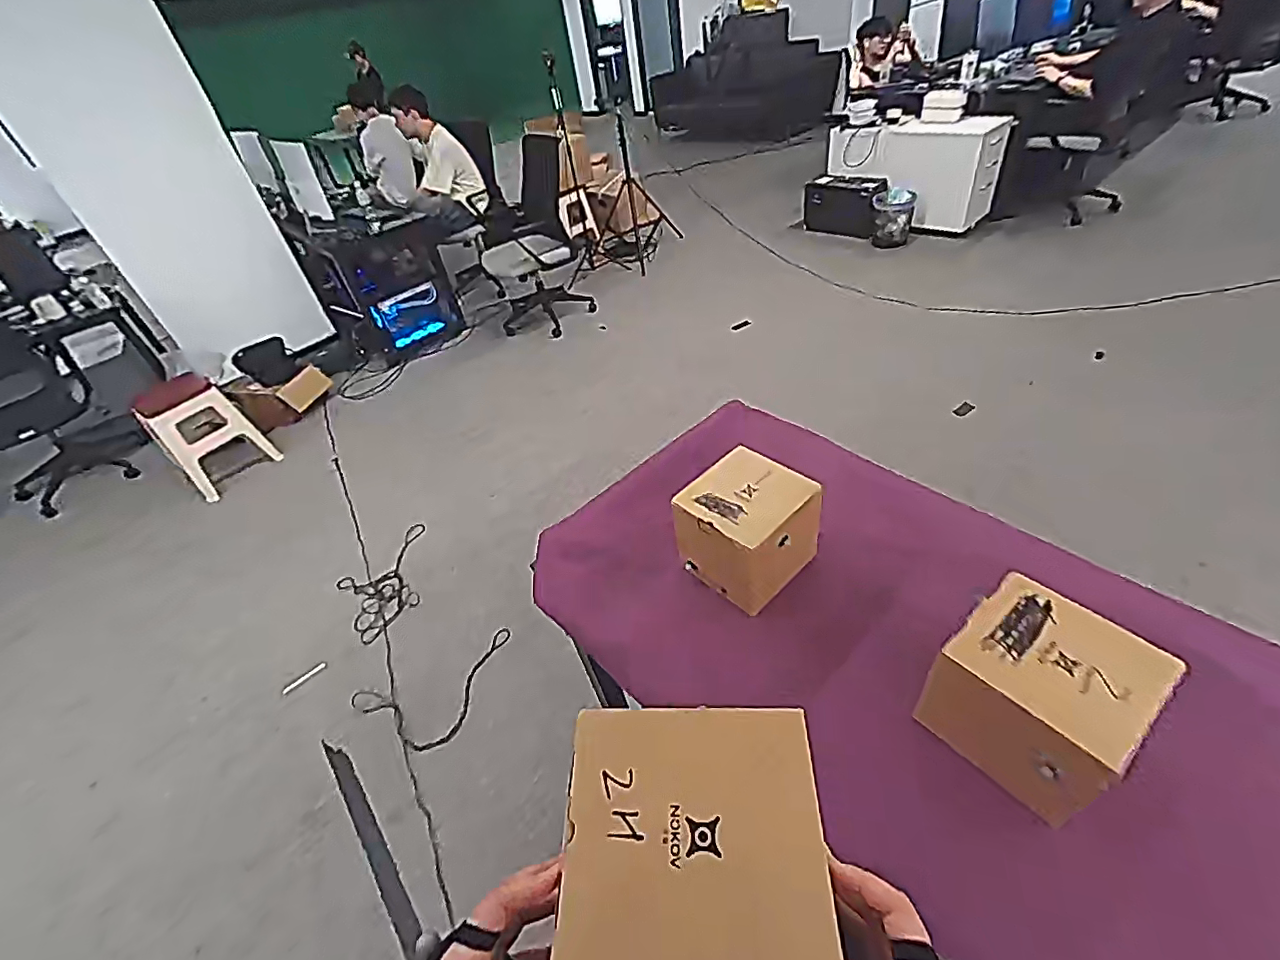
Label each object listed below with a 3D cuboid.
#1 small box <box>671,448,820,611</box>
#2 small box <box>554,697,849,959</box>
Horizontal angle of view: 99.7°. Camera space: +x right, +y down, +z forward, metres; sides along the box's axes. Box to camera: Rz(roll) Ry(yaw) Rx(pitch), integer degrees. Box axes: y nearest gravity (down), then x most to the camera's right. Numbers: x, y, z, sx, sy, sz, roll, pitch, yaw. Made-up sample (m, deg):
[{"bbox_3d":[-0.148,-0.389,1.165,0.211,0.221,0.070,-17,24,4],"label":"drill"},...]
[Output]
[{"bbox_3d":[0.177,0.082,0.899,0.179,0.176,0.168,-36,47,-25],"label":"small box"},{"bbox_3d":[0.045,0.283,0.425,0.179,0.176,0.168,-3,47,6],"label":"small box"}]
